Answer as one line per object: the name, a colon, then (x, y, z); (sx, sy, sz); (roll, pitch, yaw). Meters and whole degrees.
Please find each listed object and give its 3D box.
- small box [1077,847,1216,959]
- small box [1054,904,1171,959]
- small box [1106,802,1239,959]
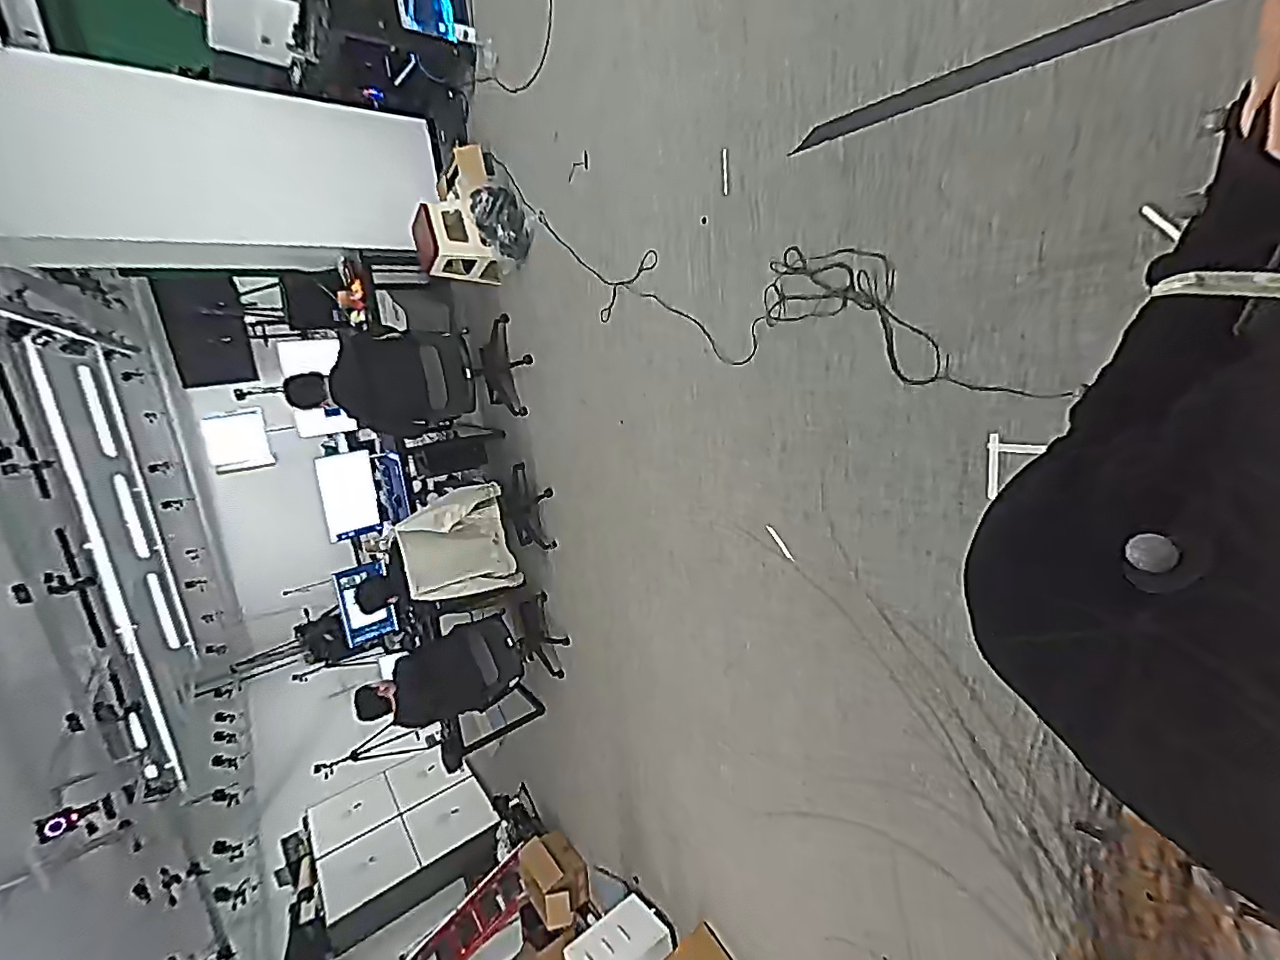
small box: (0.918, 0.833, 0.994); (0.168, 0.176, 0.179); (16, 114, 50)
small box: (0.791, 0.872, 0.896); (0.168, 0.176, 0.179); (15, 115, 50)
small box: (1.051, 0.797, 1.082); (0.179, 0.176, 0.168); (17, 115, 49)
